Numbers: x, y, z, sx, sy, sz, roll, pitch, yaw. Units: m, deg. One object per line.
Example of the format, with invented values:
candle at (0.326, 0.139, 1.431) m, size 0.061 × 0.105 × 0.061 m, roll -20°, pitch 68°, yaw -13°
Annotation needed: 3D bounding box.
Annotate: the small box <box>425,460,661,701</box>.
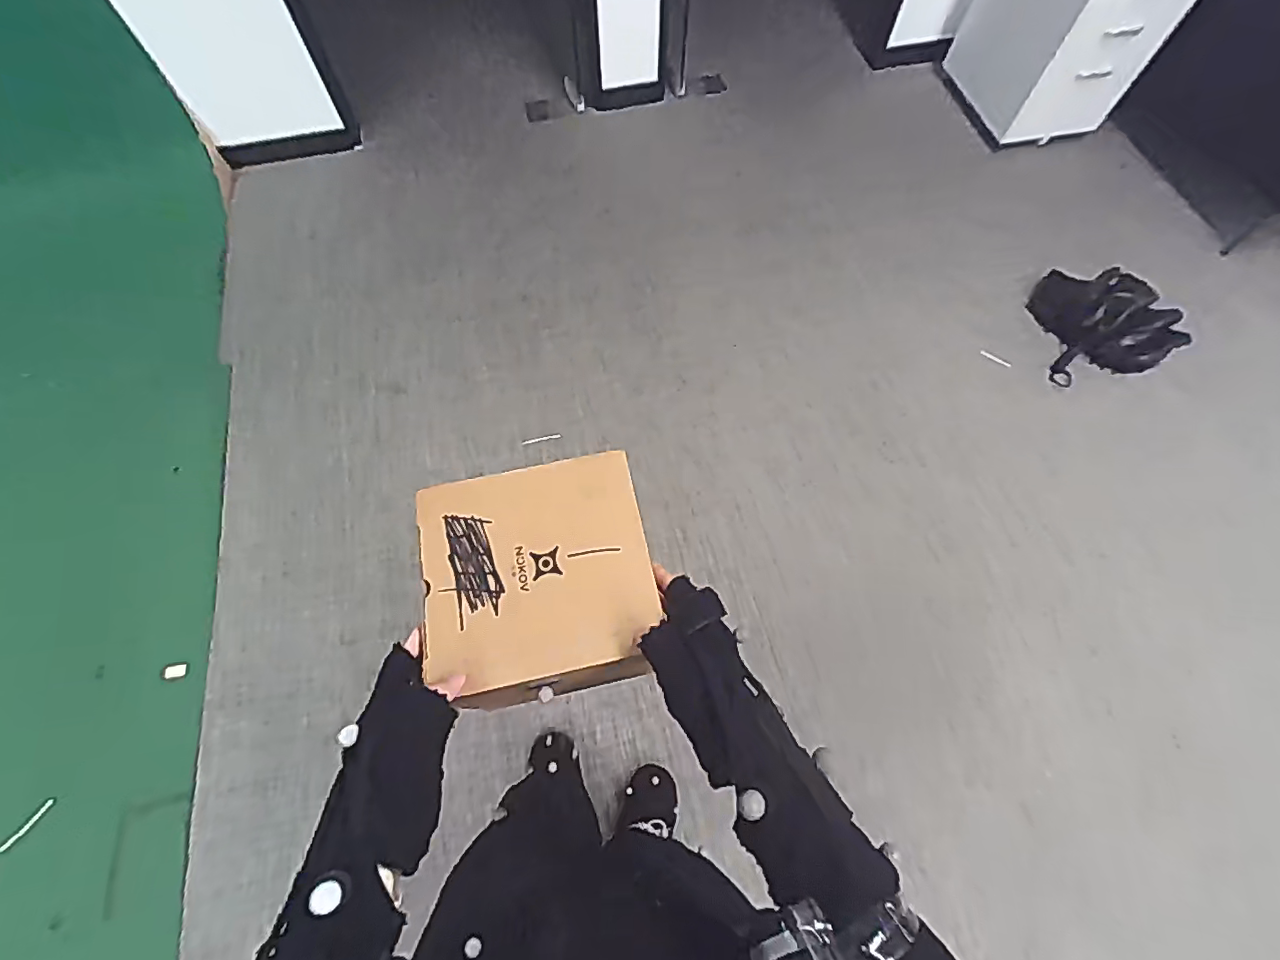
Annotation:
small box at (-0.082, 0.103, 0.507) m, size 0.179 × 0.176 × 0.168 m, roll -11°, pitch 67°, yaw -5°
